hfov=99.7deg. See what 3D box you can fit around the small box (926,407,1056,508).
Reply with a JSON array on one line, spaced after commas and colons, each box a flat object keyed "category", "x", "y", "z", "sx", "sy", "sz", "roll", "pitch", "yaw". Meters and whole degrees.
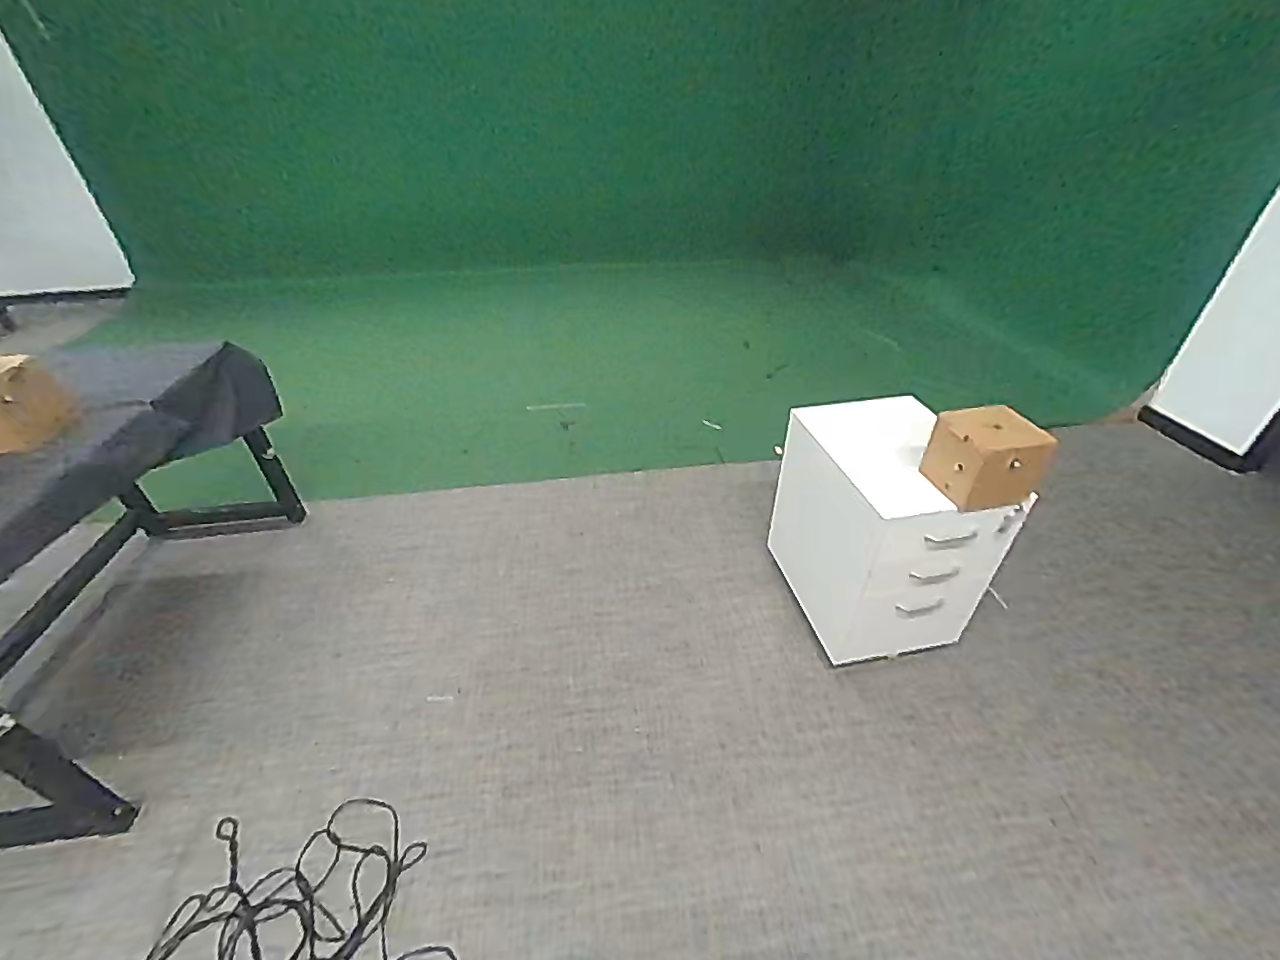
[{"category": "small box", "x": 0.792, "y": -0.050, "z": 1.248, "sx": 0.179, "sy": 0.176, "sz": 0.168, "roll": -7, "pitch": 37, "yaw": -8}]
